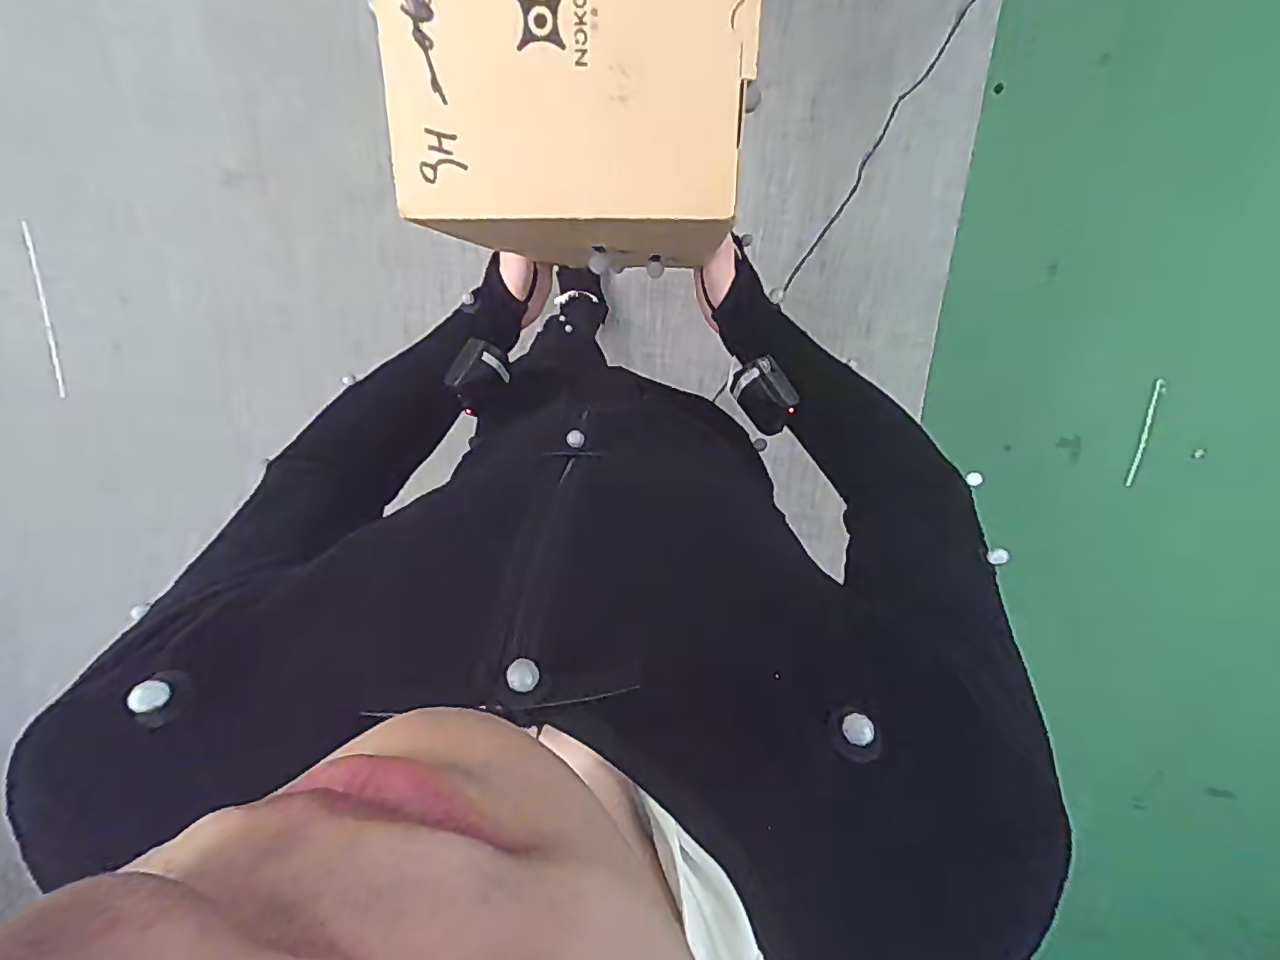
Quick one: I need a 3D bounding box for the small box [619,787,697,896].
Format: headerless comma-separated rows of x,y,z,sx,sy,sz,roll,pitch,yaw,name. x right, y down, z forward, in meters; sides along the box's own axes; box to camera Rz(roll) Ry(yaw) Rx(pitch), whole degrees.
0.046,0.962,1.451,0.179,0.176,0.168,11,104,-1,small box

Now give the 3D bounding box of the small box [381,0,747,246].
-0.032,-0.243,0.331,0.179,0.176,0.168,2,108,4,small box
